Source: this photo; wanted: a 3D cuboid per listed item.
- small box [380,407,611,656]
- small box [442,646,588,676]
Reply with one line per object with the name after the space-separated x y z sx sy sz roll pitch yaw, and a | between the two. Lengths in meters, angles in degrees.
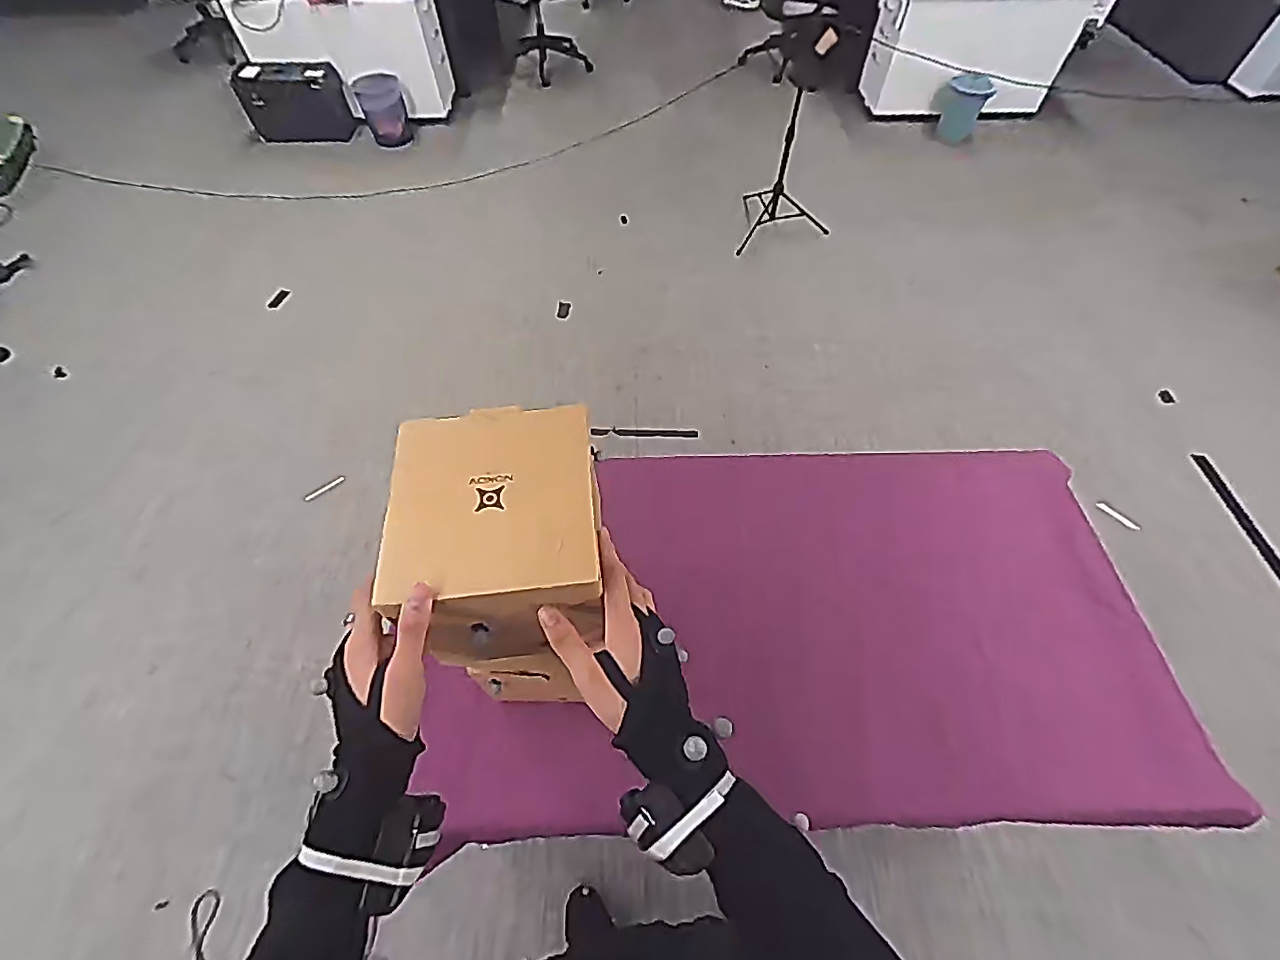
-0.118 0.057 0.509 0.168 0.176 0.179 -6 56 -4 | small box
-0.148 0.128 0.656 0.179 0.176 0.168 6 57 4 | small box
